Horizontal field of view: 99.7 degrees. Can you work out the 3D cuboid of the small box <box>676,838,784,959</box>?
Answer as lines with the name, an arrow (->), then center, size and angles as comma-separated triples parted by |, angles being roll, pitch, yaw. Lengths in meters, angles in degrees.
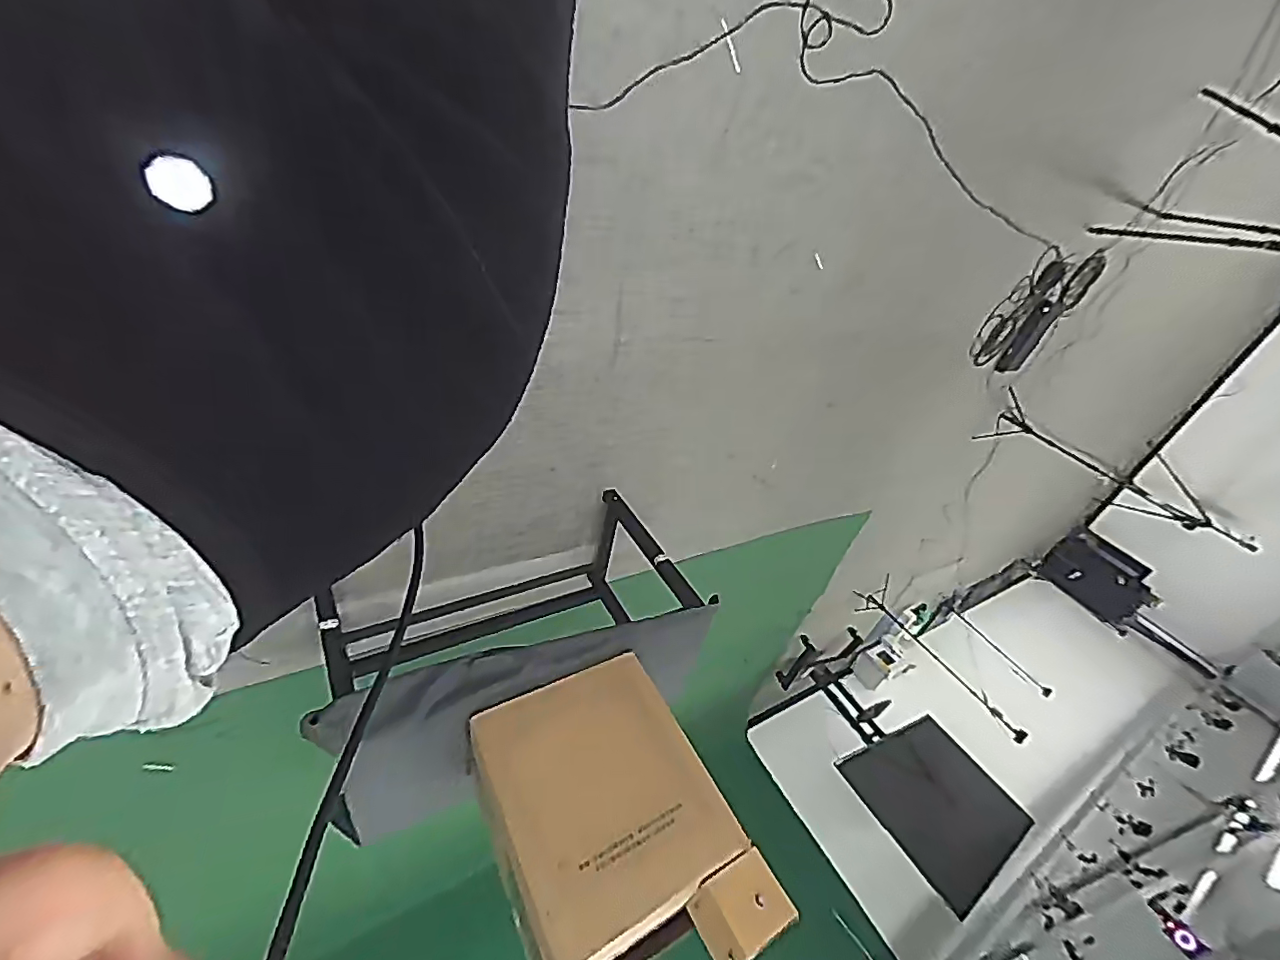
small box -> 0.222, 1.053, 1.364 | 0.179, 0.176, 0.168 | -11, 133, -35
